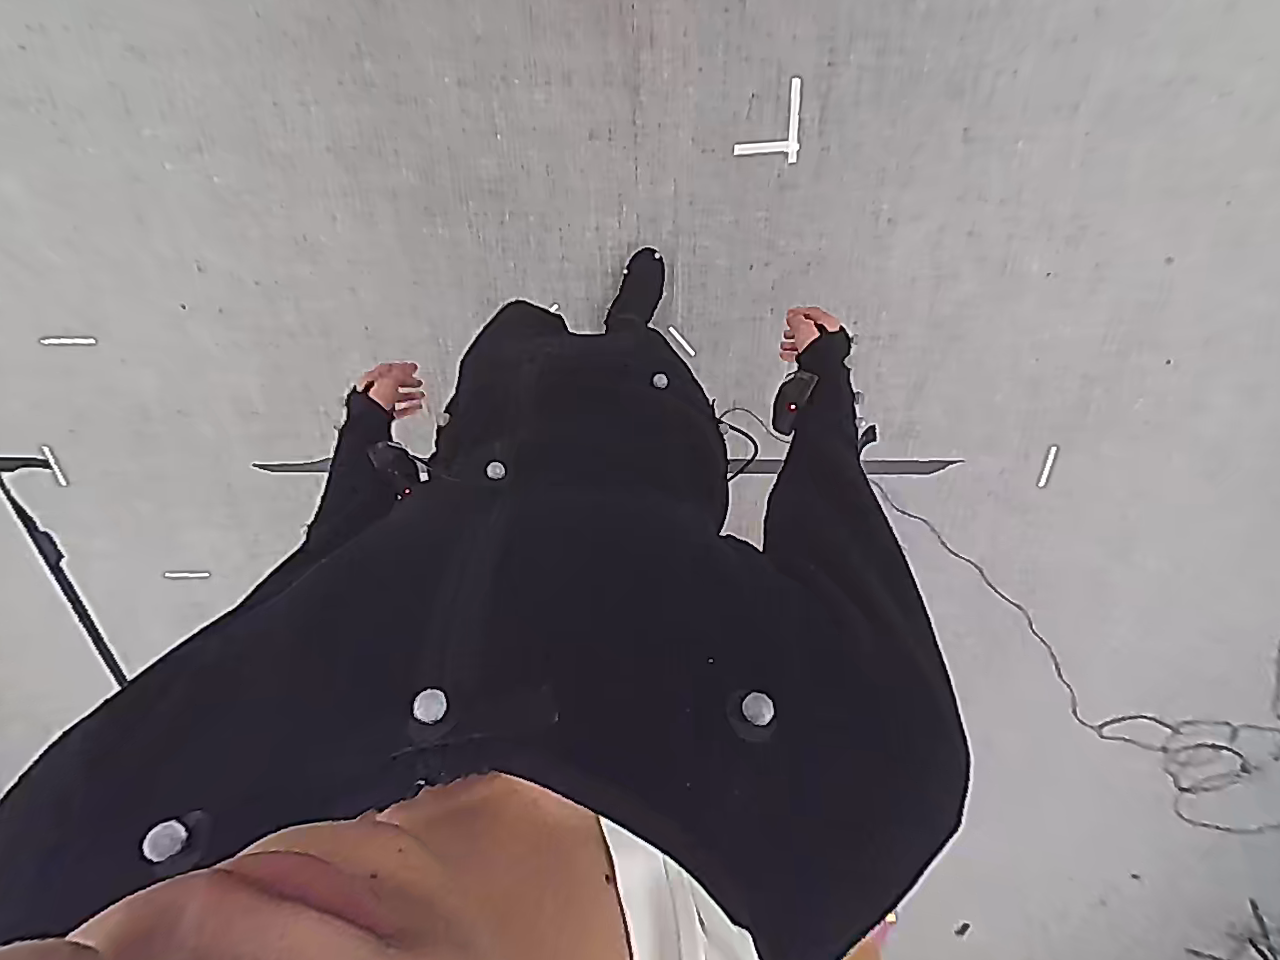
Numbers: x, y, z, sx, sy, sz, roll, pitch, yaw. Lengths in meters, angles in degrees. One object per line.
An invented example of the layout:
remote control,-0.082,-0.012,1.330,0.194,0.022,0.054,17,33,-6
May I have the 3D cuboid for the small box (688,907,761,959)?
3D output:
small box,0.217,1.254,1.414,0.179,0.176,0.168,0,115,1
